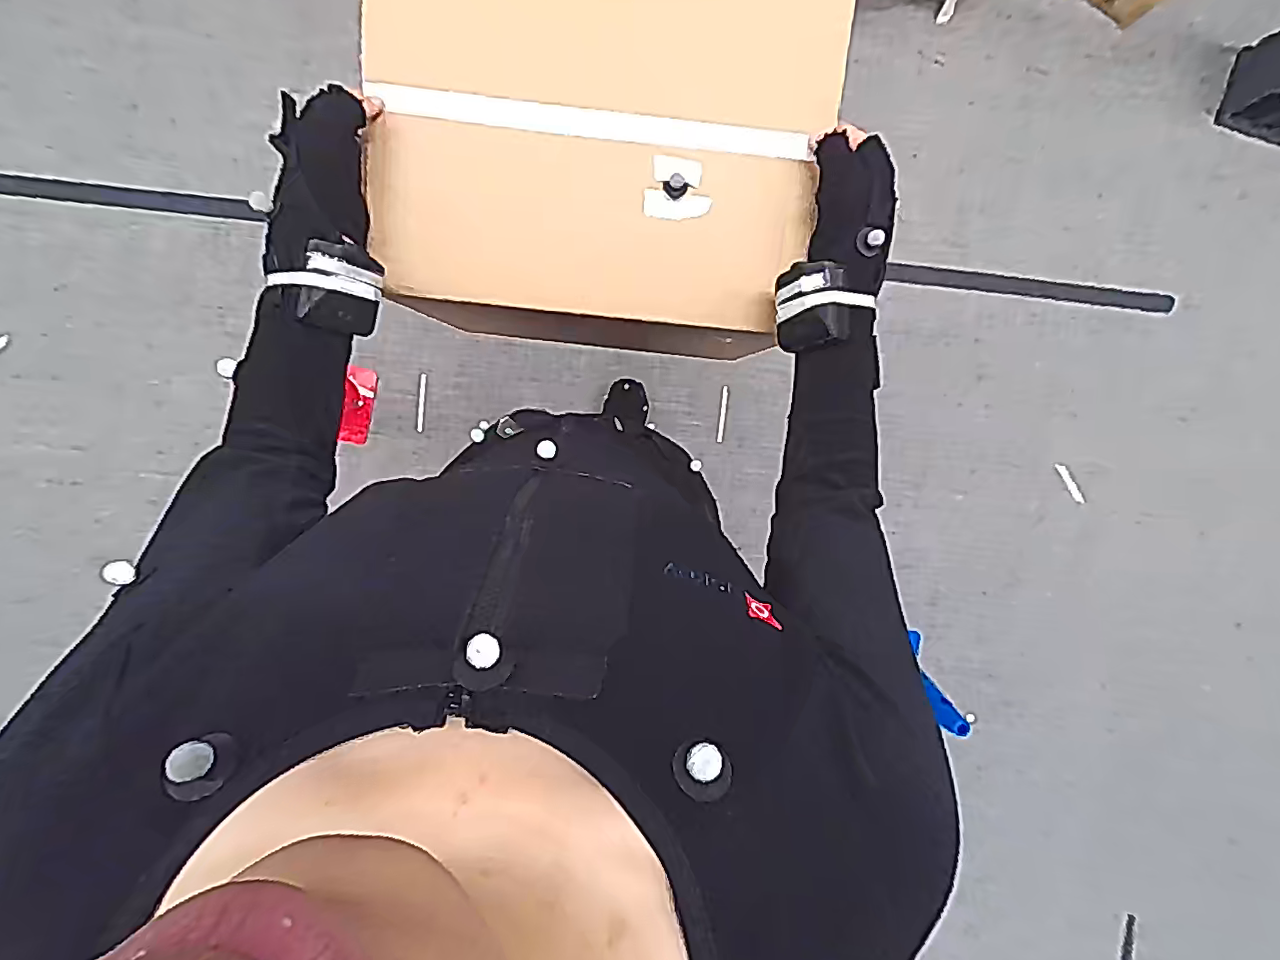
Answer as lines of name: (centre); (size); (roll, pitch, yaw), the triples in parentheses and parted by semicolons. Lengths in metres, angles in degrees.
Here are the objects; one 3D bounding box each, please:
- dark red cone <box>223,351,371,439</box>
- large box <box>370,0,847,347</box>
dark red cone: (-0.785, -0.203, 1.213); (0.201, 0.394, 0.202); (11, 95, -5)
large box: (-0.038, -0.337, 0.614); (0.408, 0.320, 0.320); (5, 99, -4)
